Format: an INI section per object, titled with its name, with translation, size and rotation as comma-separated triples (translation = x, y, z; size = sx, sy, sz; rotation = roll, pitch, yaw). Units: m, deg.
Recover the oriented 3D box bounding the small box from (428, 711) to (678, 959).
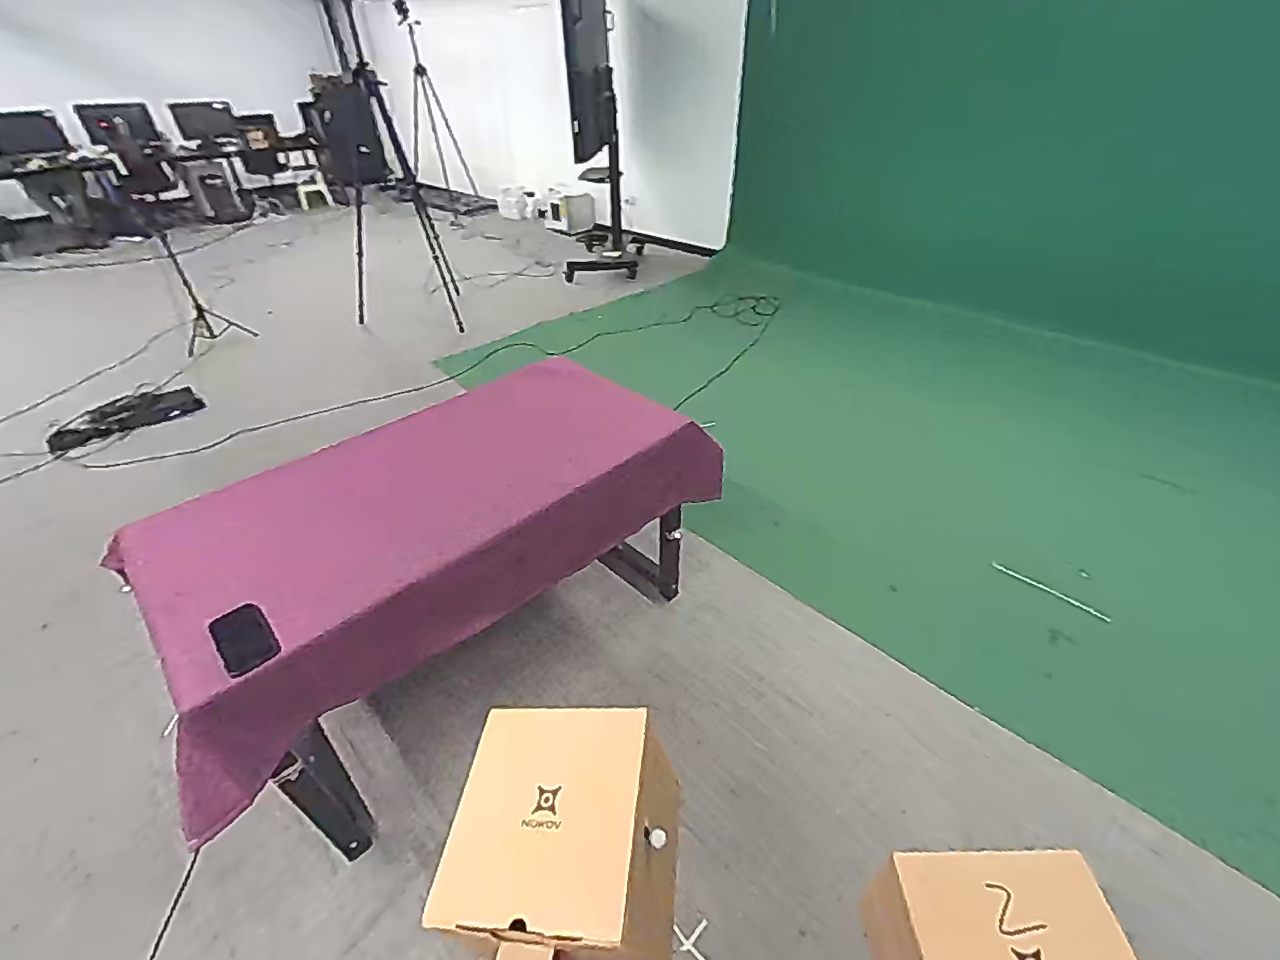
[small box]
translation = -0.060, 0.344, 0.511
size = 0.168, 0.176, 0.179
rotation = -5, 40, 13
